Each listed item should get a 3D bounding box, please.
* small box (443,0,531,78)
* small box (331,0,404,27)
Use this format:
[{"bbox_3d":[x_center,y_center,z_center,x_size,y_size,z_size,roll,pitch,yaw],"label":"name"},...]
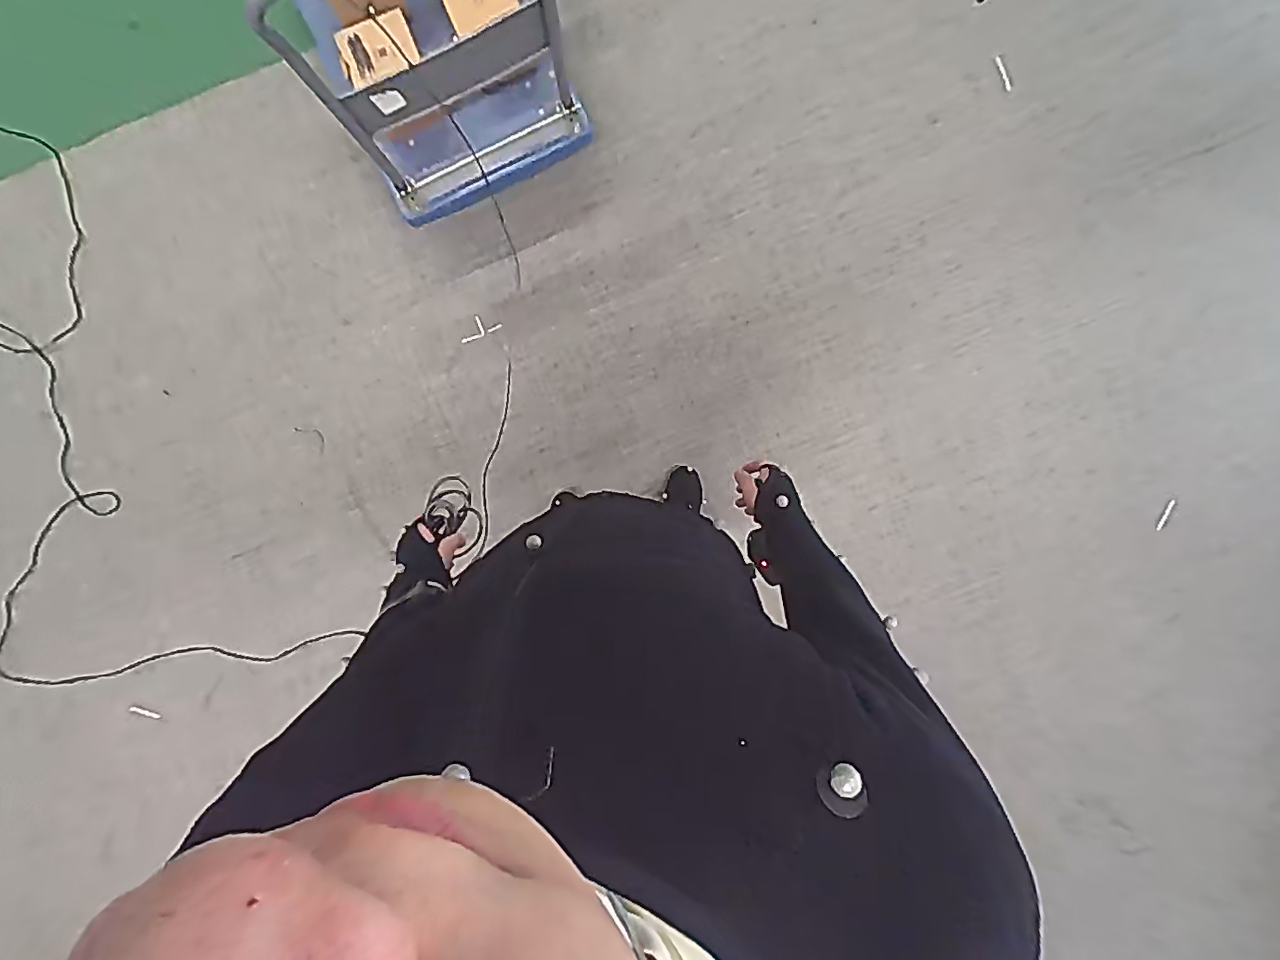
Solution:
[{"bbox_3d":[-0.390,-1.166,1.349,0.168,0.176,0.179,-24,93,1],"label":"small box"},{"bbox_3d":[-0.724,-1.286,1.344,0.168,0.176,0.179,-29,92,0],"label":"small box"}]
